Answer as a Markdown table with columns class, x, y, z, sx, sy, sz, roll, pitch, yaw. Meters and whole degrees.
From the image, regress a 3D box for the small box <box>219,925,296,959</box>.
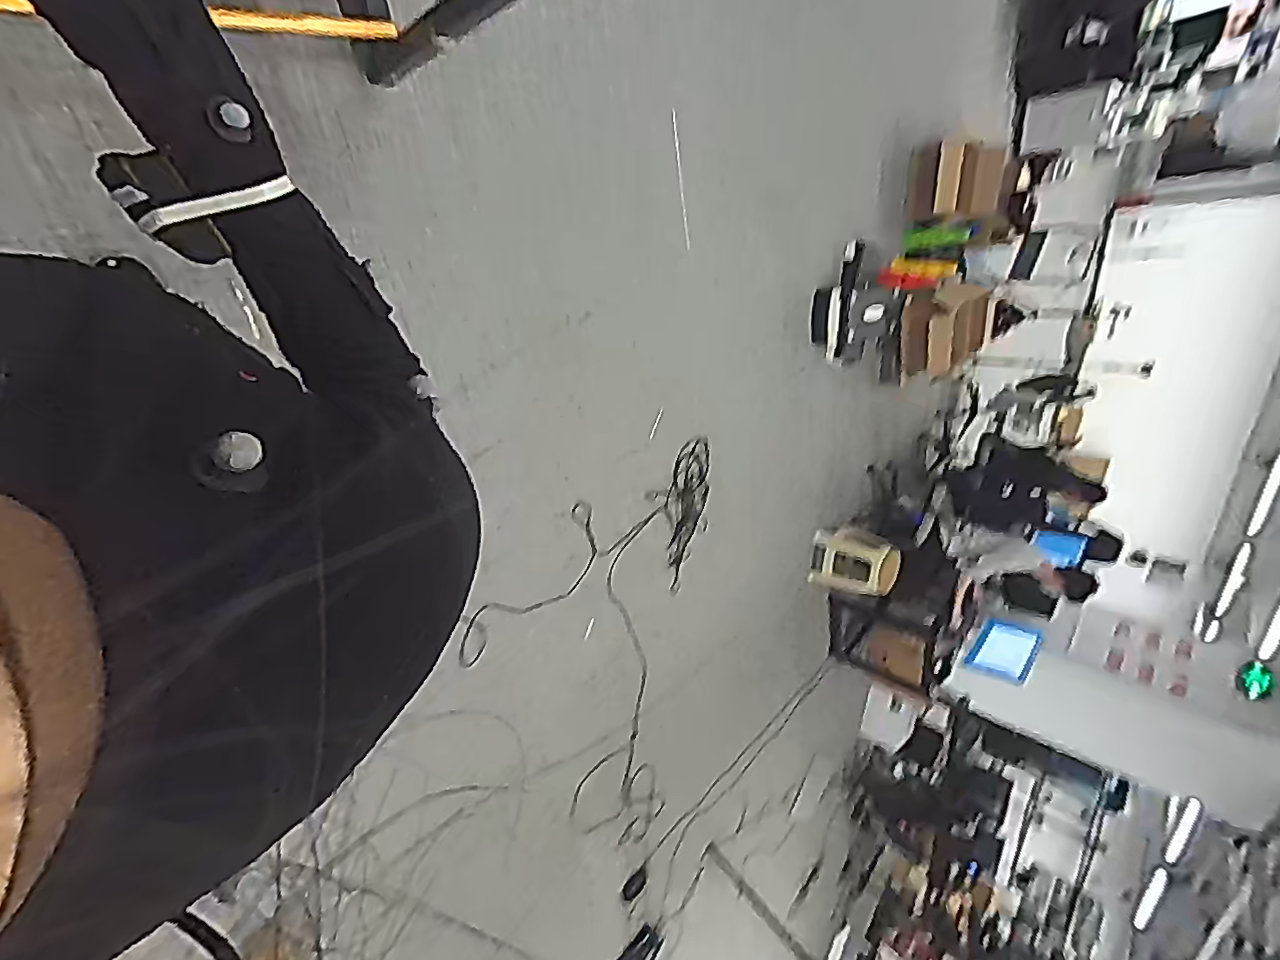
| class | x | y | z | sx | sy | sz | roll | pitch | yaw |
| --- | --- | --- | --- | --- | --- | --- | --- | --- | --- |
| small box | -1.034 | 1.360 | 1.456 | 0.168 | 0.176 | 0.179 | -29 | 122 | -38 |
